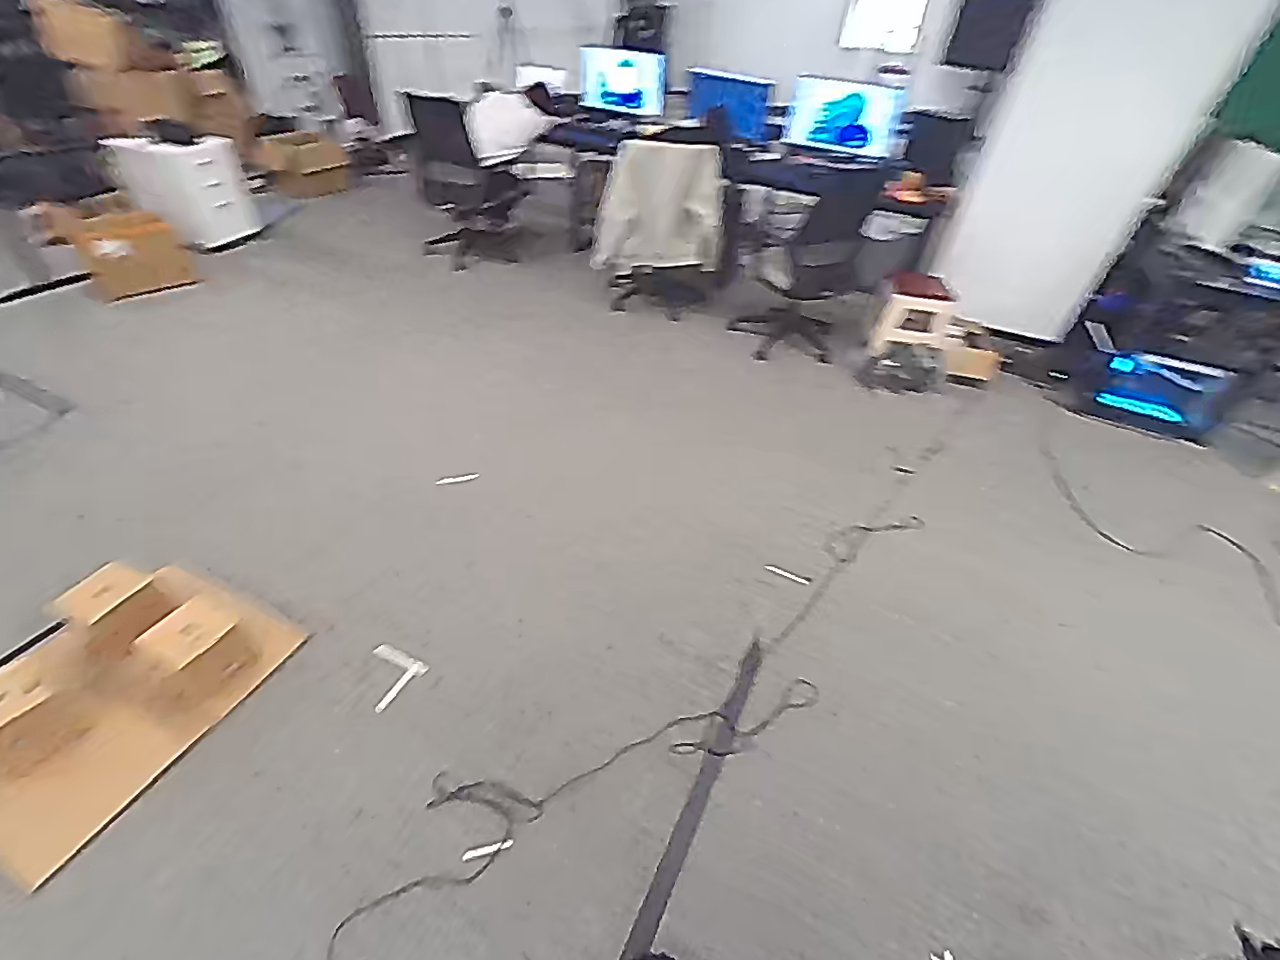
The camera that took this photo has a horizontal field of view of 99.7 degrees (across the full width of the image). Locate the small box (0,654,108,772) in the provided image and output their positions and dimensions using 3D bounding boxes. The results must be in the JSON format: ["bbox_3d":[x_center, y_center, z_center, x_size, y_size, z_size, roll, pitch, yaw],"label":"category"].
[{"bbox_3d":[-1.478,0.571,1.319,0.168,0.176,0.179,28,48,23],"label":"small box"}]

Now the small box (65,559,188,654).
[{"bbox_3d":[-1.458,0.364,1.556,0.168,0.176,0.179,16,43,14],"label":"small box"}]

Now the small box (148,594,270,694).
[{"bbox_3d":[-1.172,0.453,1.483,0.179,0.176,0.168,22,45,16],"label":"small box"}]
